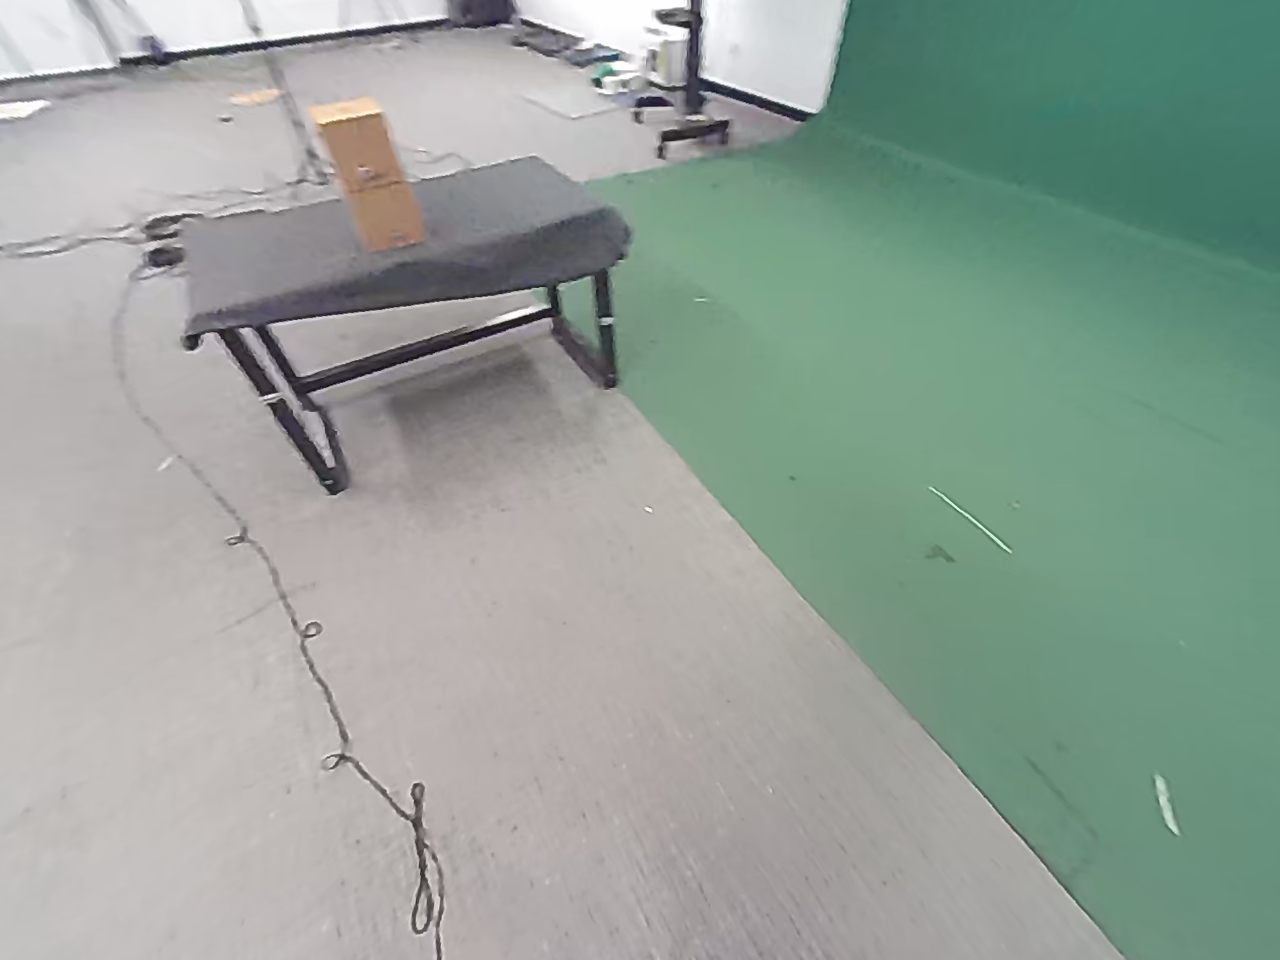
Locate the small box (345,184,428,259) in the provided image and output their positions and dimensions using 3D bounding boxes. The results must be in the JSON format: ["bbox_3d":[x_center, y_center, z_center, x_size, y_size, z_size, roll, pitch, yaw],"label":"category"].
[{"bbox_3d":[-0.742,-0.777,1.593,0.179,0.176,0.168,-22,49,-18],"label":"small box"}]

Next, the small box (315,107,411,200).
[{"bbox_3d":[-0.752,-0.889,1.474,0.168,0.176,0.179,-26,52,-17],"label":"small box"}]
